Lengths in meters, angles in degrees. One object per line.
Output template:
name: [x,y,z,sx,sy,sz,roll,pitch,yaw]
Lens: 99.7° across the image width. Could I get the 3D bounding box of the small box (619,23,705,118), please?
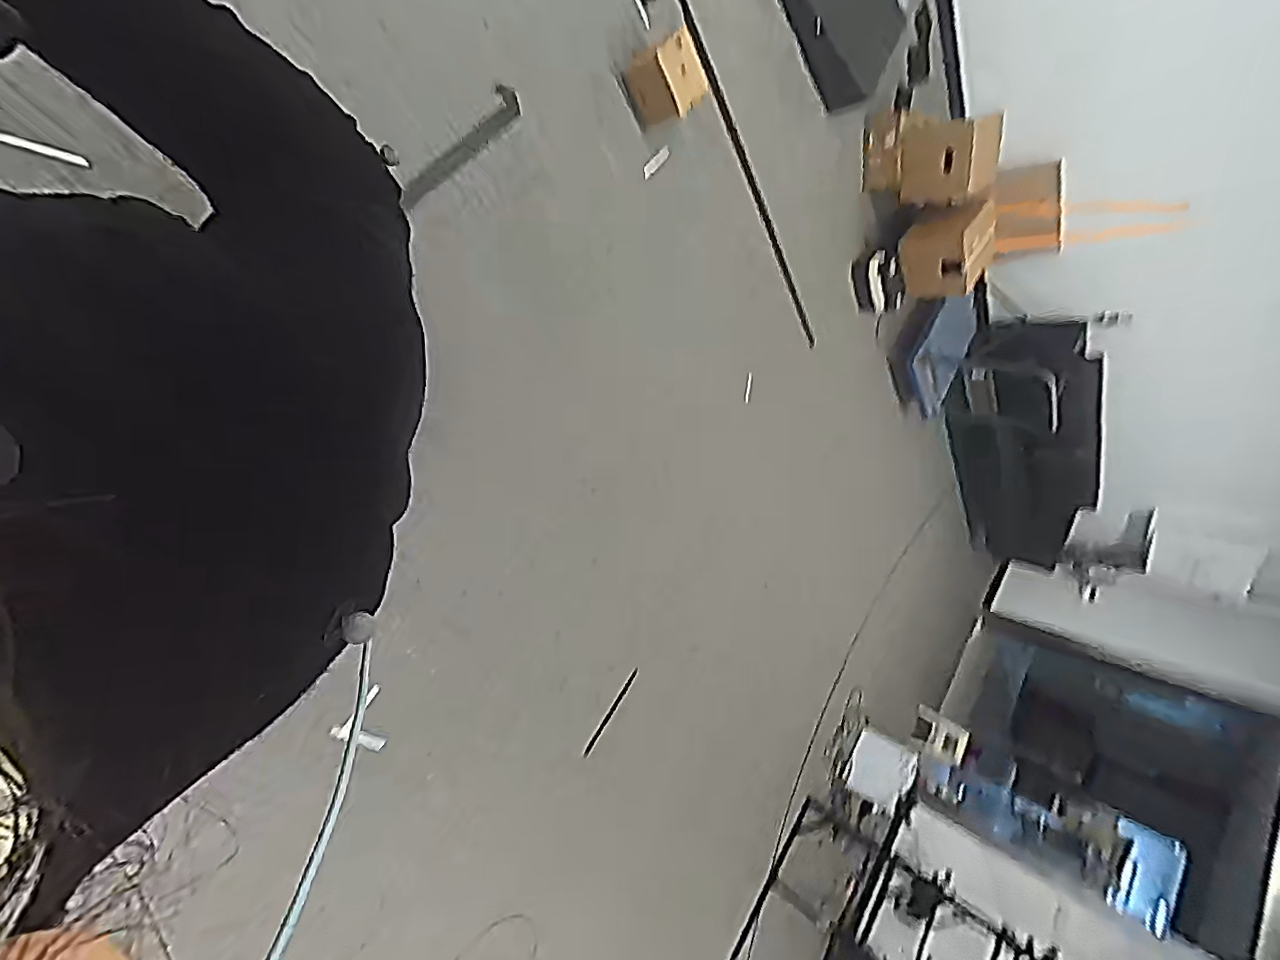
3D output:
small box: [0.069,-1.284,1.713,0.168,0.176,0.179,-54,132,-19]
